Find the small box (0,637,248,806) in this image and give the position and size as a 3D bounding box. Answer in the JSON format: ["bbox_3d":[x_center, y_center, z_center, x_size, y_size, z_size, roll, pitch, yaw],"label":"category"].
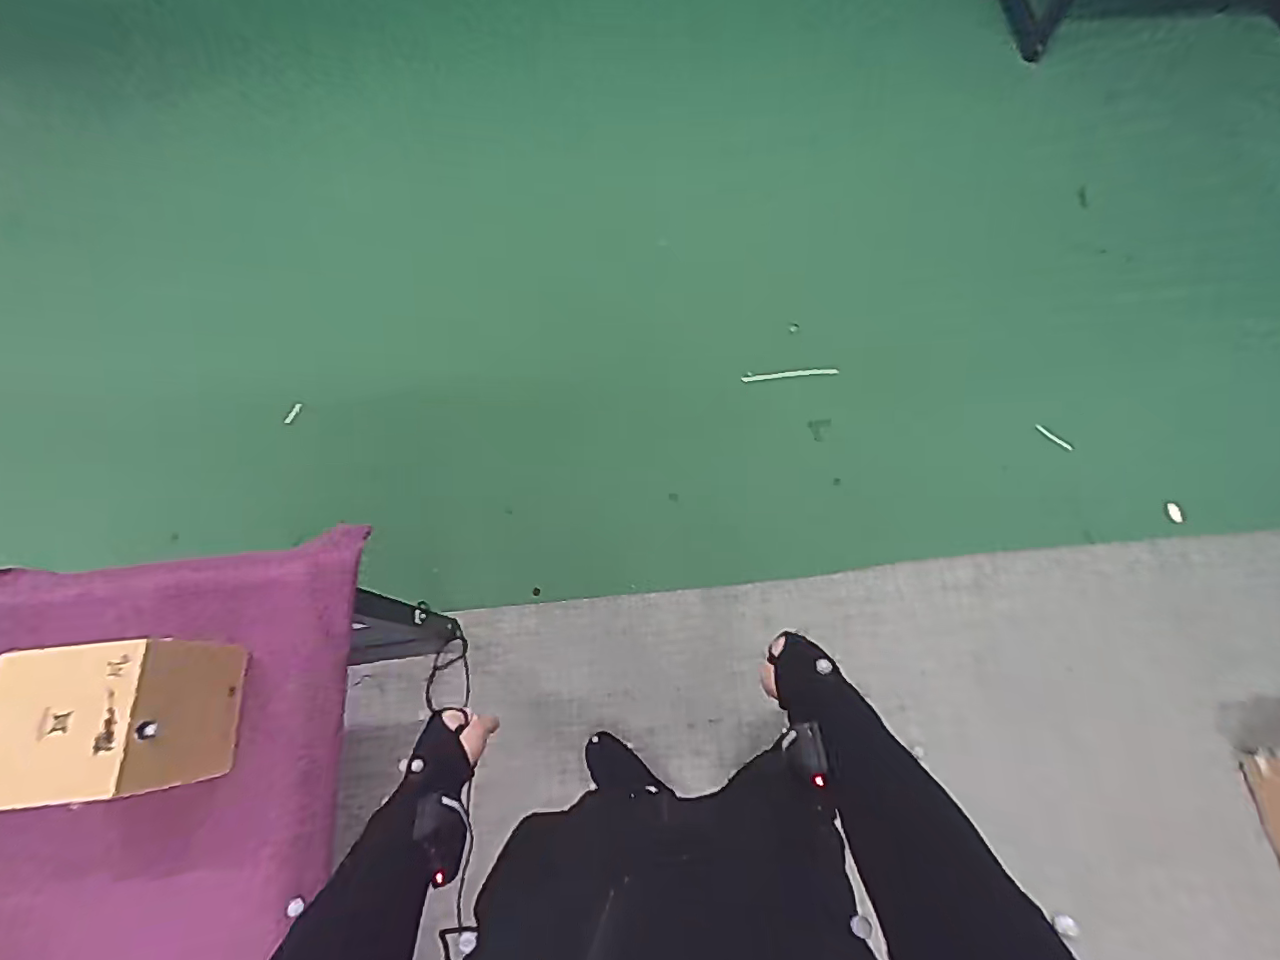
[{"bbox_3d":[-0.640,0.291,0.669,0.179,0.176,0.168,-6,71,1],"label":"small box"}]
